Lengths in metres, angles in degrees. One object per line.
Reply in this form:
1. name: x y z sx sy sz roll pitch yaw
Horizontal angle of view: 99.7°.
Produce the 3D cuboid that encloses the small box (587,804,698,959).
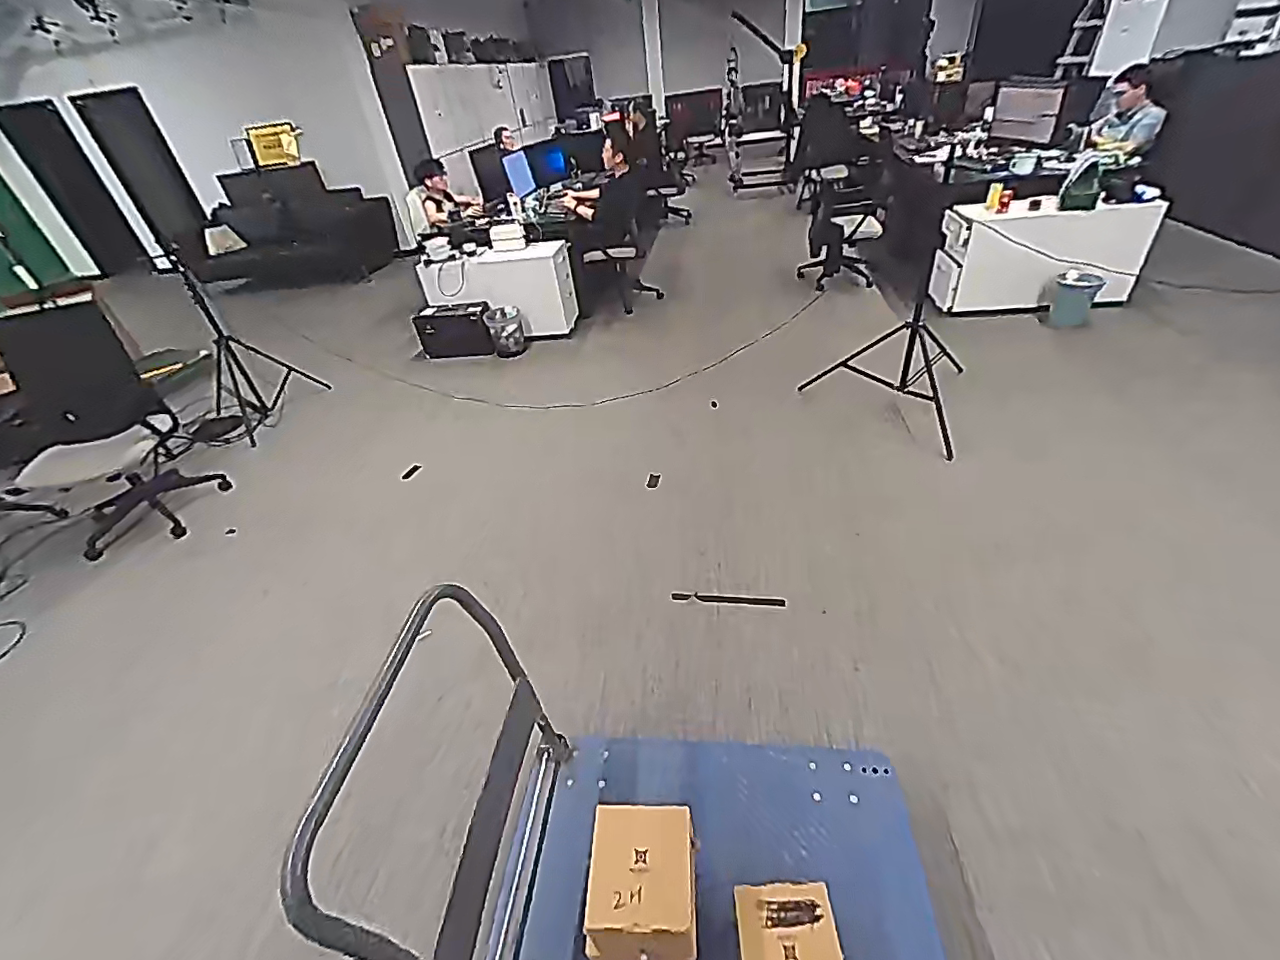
1. small box: 0.012 0.683 0.923 0.168 0.176 0.179 -3 38 6
